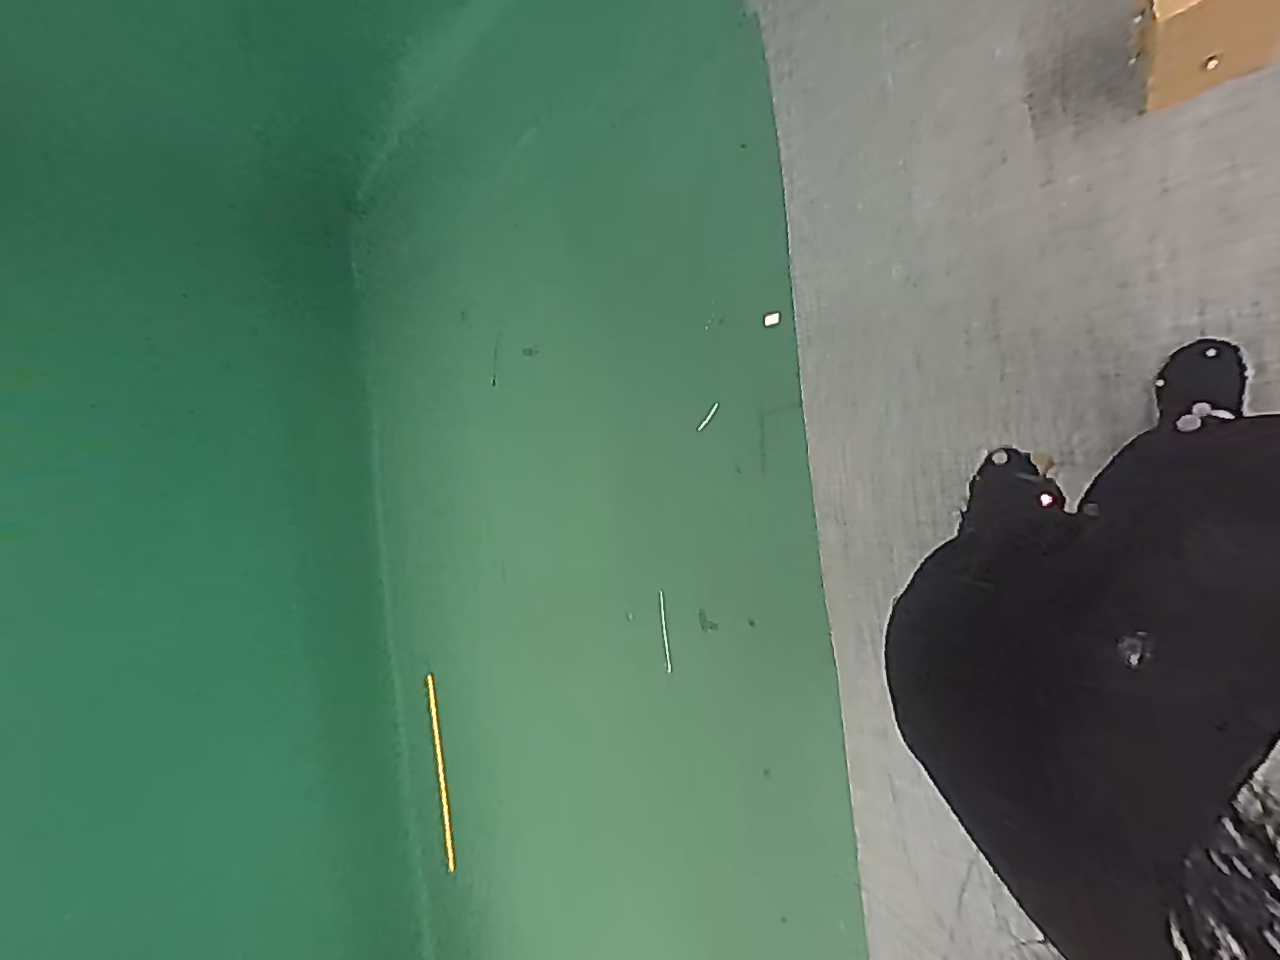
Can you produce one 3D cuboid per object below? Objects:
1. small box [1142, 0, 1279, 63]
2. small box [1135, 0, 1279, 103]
[{"bbox_3d":[0.902,-0.809,0.834,0.179,0.176,0.168,-12,87,44],"label":"small box"},{"bbox_3d":[1.009,-0.825,0.959,0.179,0.176,0.168,-13,87,44],"label":"small box"}]
